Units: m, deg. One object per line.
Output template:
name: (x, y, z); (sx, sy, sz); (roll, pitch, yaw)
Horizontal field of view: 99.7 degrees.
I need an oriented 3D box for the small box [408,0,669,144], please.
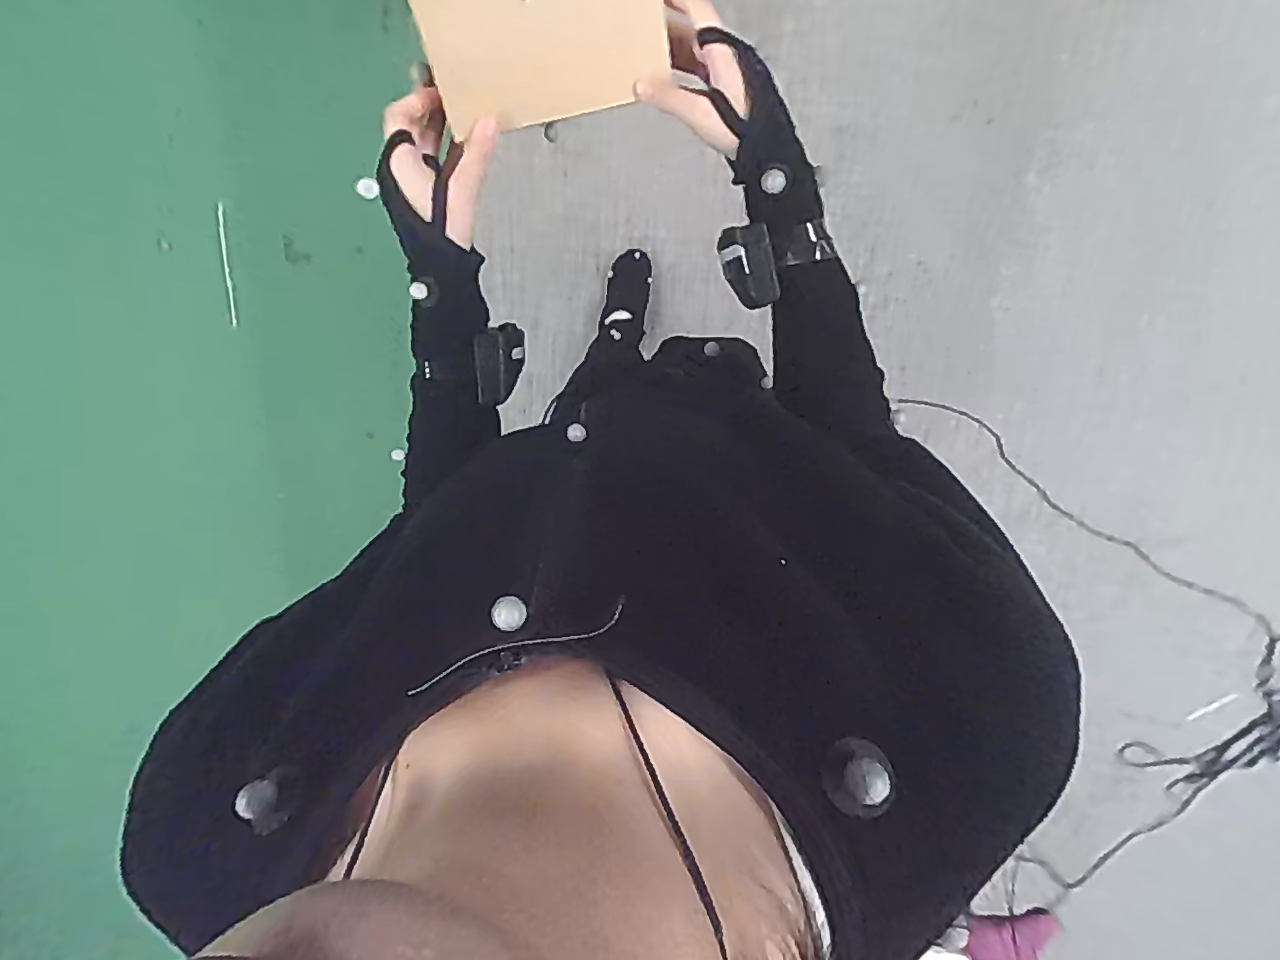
small box: (-0.086, -0.372, 0.411); (0.168, 0.176, 0.179); (-16, 123, -5)
